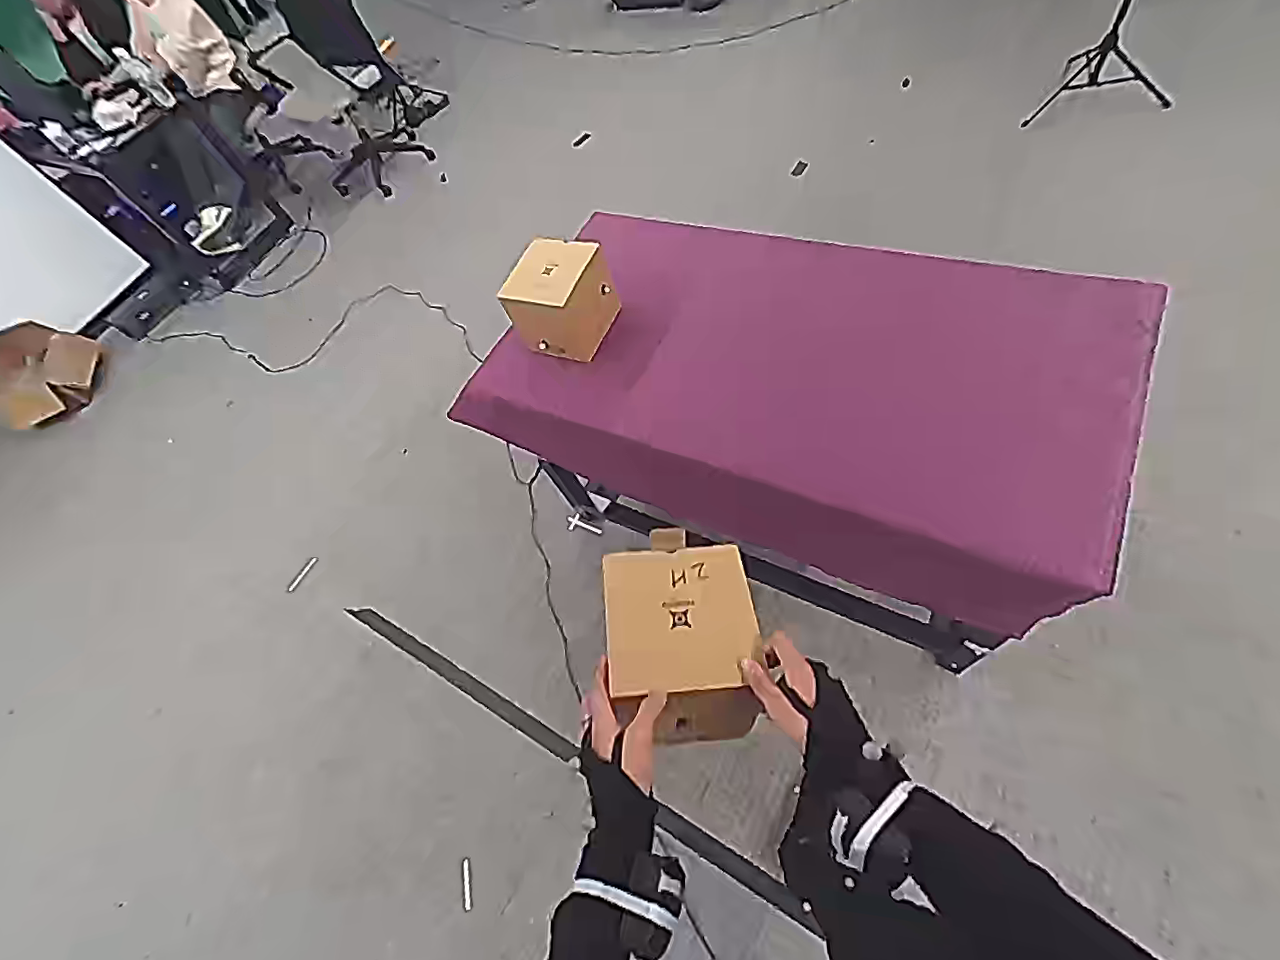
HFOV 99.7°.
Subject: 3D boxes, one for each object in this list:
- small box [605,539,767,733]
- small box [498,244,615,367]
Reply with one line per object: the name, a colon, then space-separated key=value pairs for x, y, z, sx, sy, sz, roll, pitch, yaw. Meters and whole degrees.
small box: x=0.045 y=0.195 z=0.661 sx=0.168 sy=0.176 sz=0.179 roll=-3 pitch=47 yaw=-4
small box: x=-0.168 y=-0.376 z=1.169 sx=0.168 sy=0.176 sz=0.179 roll=16 pitch=66 yaw=23
